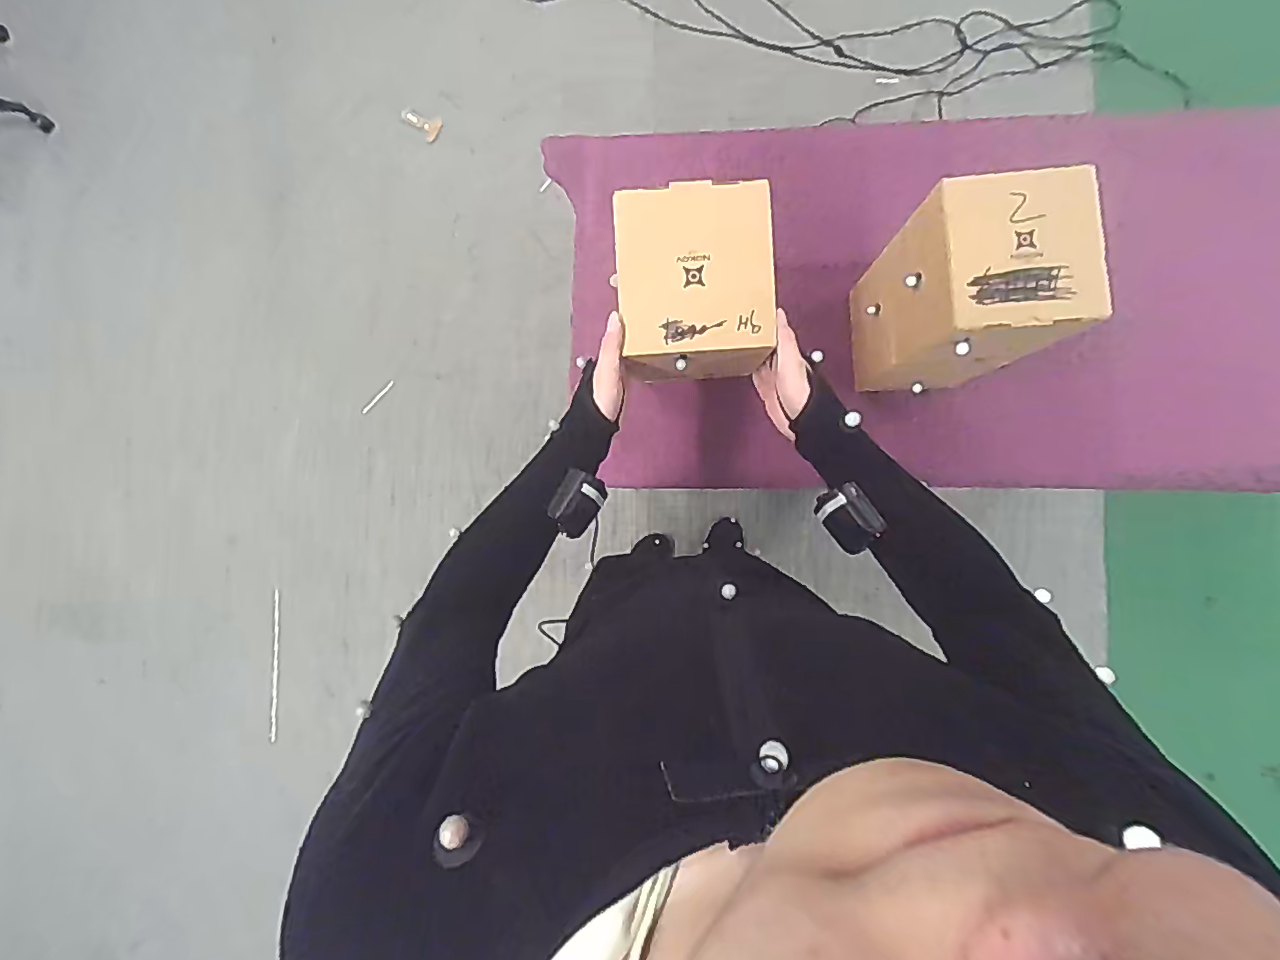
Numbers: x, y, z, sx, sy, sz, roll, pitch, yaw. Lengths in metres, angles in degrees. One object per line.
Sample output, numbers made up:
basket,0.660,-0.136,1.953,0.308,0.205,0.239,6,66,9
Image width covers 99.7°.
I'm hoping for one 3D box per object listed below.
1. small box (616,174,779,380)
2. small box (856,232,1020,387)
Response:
small box,0.062,-0.223,0.634,0.168,0.176,0.179,-3,90,4
small box,0.440,-0.249,0.825,0.168,0.176,0.179,-2,87,5
